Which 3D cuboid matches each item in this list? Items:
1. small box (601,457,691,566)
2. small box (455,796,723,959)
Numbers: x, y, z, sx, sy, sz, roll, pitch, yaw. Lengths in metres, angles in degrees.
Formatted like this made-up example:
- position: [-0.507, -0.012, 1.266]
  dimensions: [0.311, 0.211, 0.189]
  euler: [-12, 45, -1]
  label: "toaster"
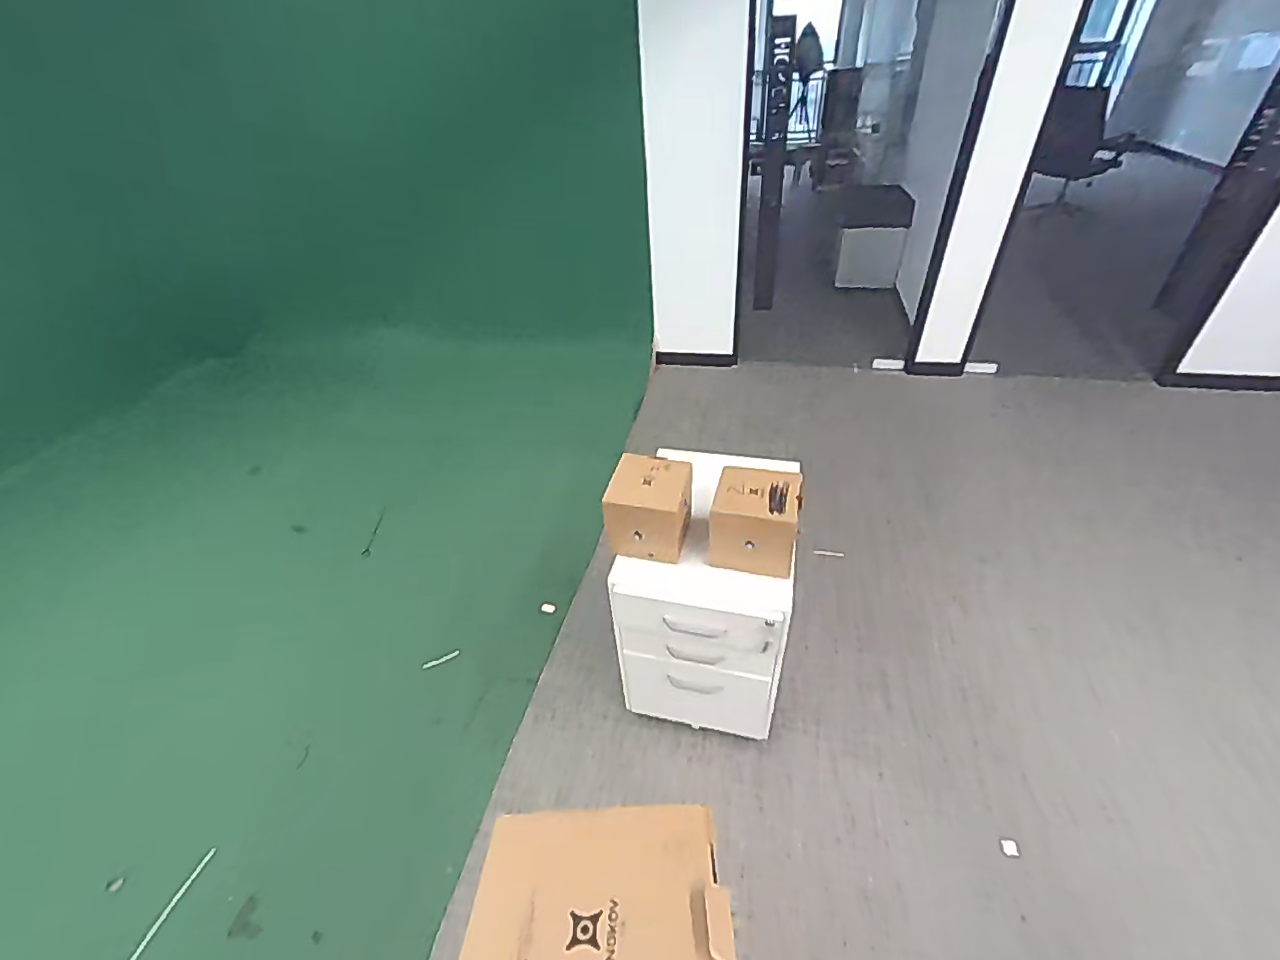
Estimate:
- position: [0.021, 0.072, 1.235]
  dimensions: [0.168, 0.176, 0.179]
  euler: [8, 40, 13]
  label: "small box"
- position: [-0.025, 0.368, 0.399]
  dimensions: [0.179, 0.176, 0.168]
  euler: [-7, 24, 4]
  label: "small box"
